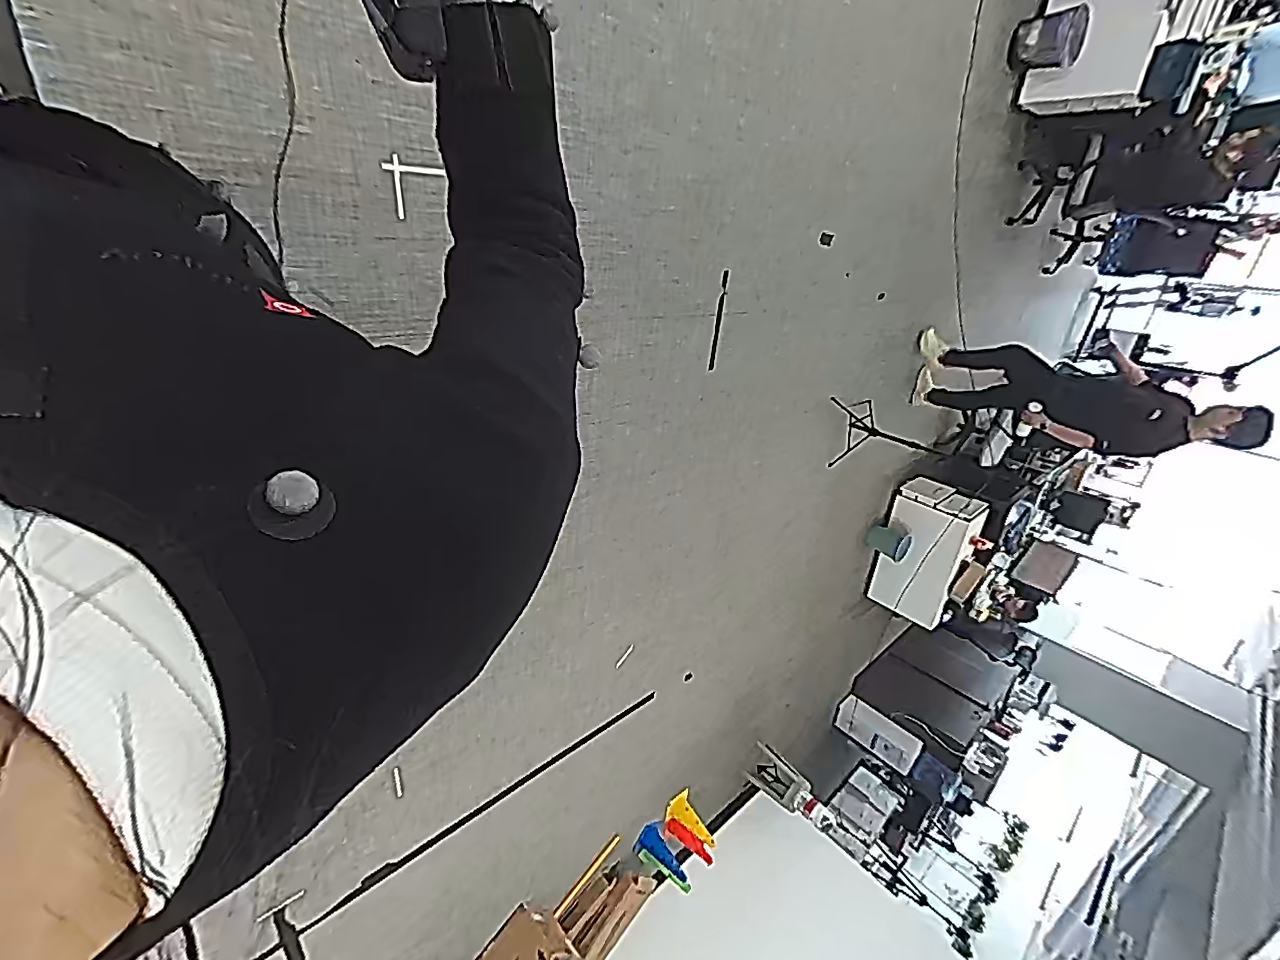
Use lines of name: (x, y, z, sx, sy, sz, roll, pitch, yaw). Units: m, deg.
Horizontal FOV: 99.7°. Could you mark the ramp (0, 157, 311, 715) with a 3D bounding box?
ramp: (-1.014, -0.069, 1.067, 0.509, 0.206, 0.991, -15, 121, -38)
